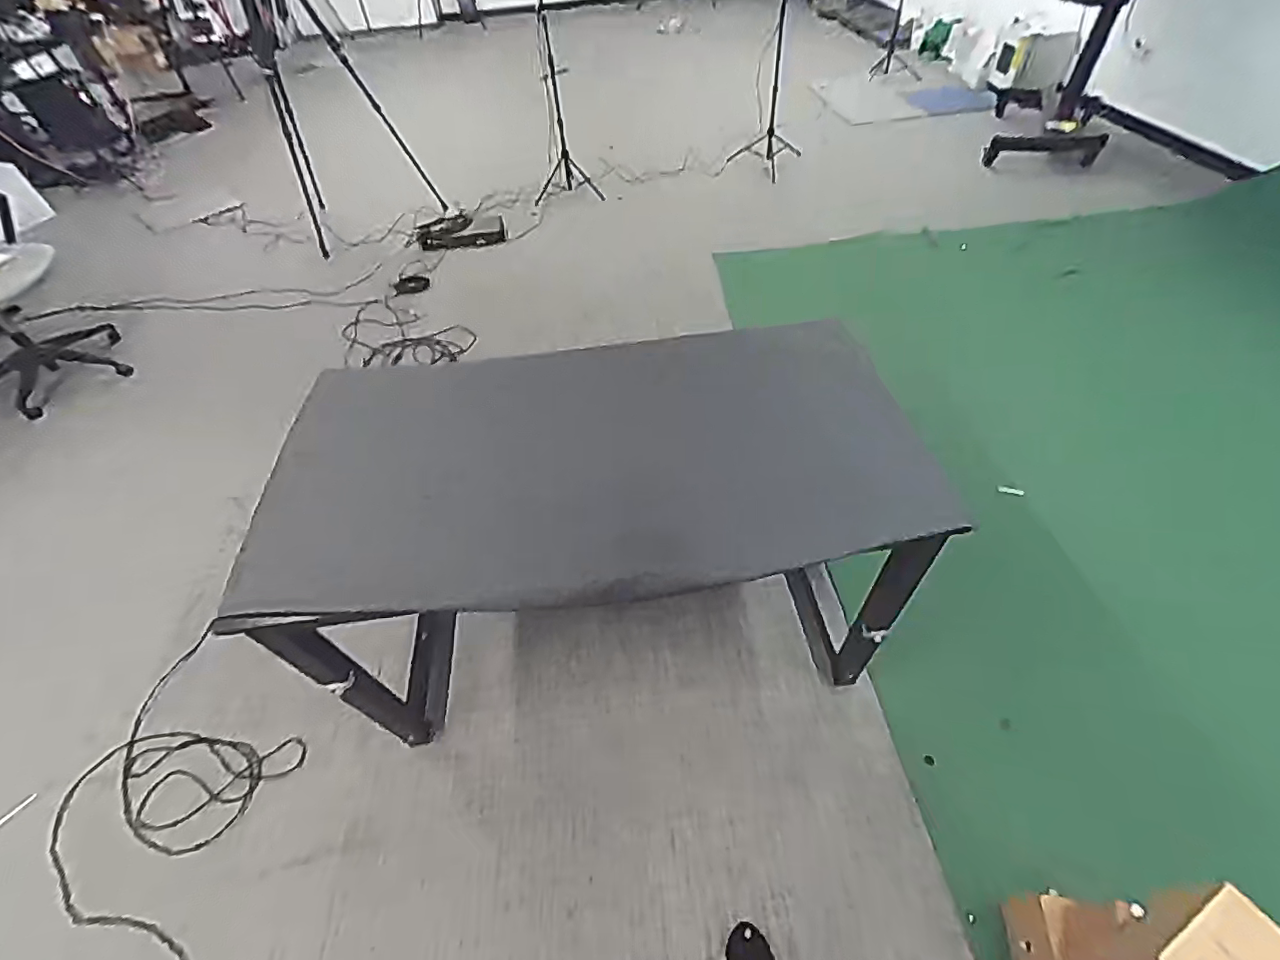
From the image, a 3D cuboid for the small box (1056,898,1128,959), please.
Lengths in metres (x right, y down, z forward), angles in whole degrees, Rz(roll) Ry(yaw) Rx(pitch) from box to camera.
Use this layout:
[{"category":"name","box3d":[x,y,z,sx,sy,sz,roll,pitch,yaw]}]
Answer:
[{"category":"small box","box3d":[0.793,0.808,0.856,0.179,0.176,0.168,23,57,21]}]

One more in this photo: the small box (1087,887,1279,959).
[{"category":"small box","box3d":[0.782,0.696,0.735,0.168,0.176,0.179,-26,52,-15]}]

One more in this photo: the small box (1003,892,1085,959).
[{"category":"small box","box3d":[0.806,0.887,1.000,0.179,0.176,0.168,6,52,9]}]
